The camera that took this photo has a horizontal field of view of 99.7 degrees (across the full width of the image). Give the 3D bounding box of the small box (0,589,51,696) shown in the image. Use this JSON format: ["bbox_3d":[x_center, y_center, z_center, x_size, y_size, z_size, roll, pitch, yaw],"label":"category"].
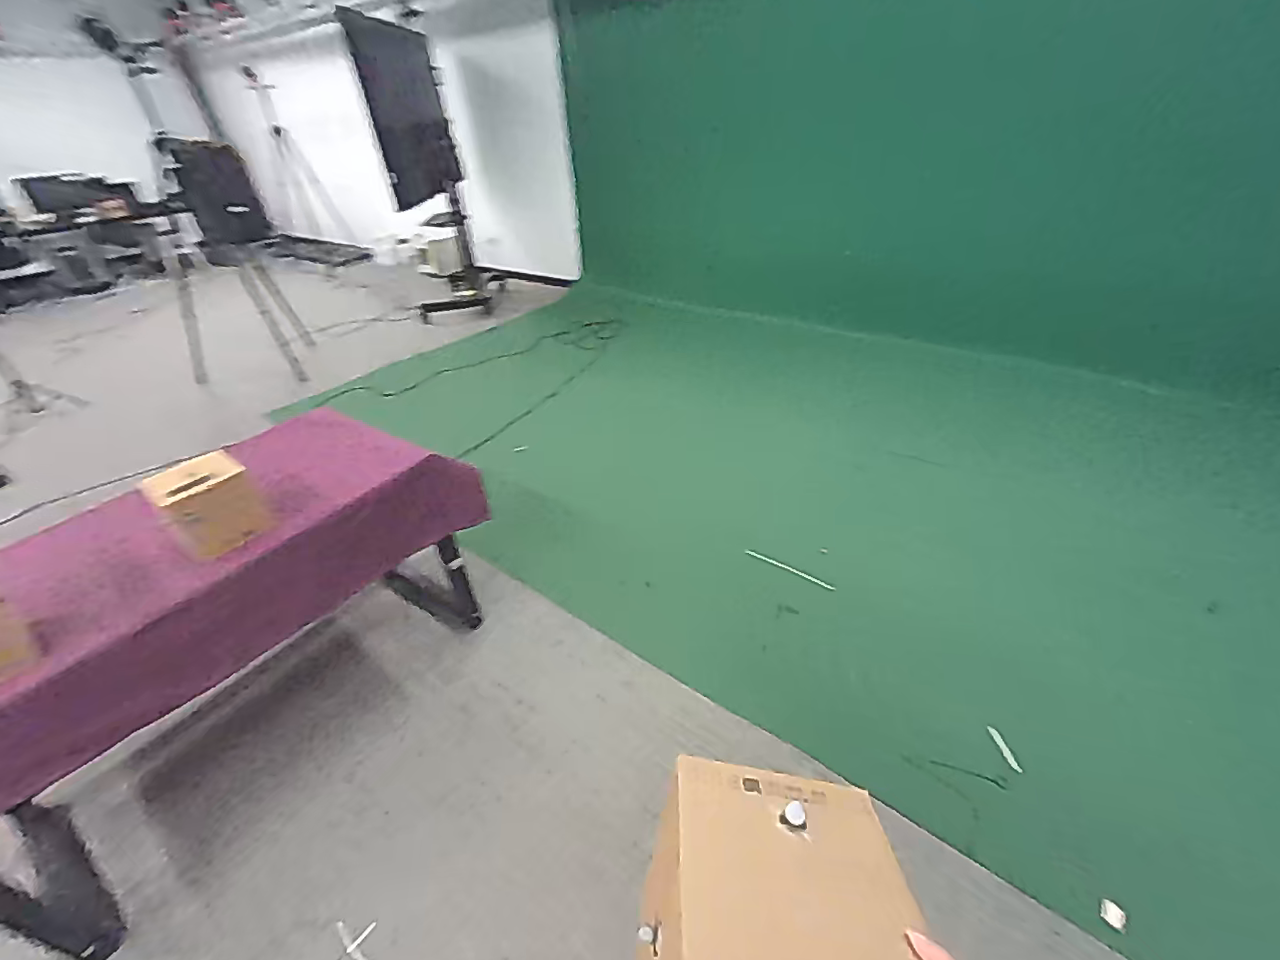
[{"bbox_3d":[-1.240,0.305,0.982,0.179,0.176,0.168,23,44,34],"label":"small box"}]

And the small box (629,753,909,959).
[{"bbox_3d":[0.083,0.348,0.407,0.168,0.179,0.176,10,13,-1],"label":"small box"}]
